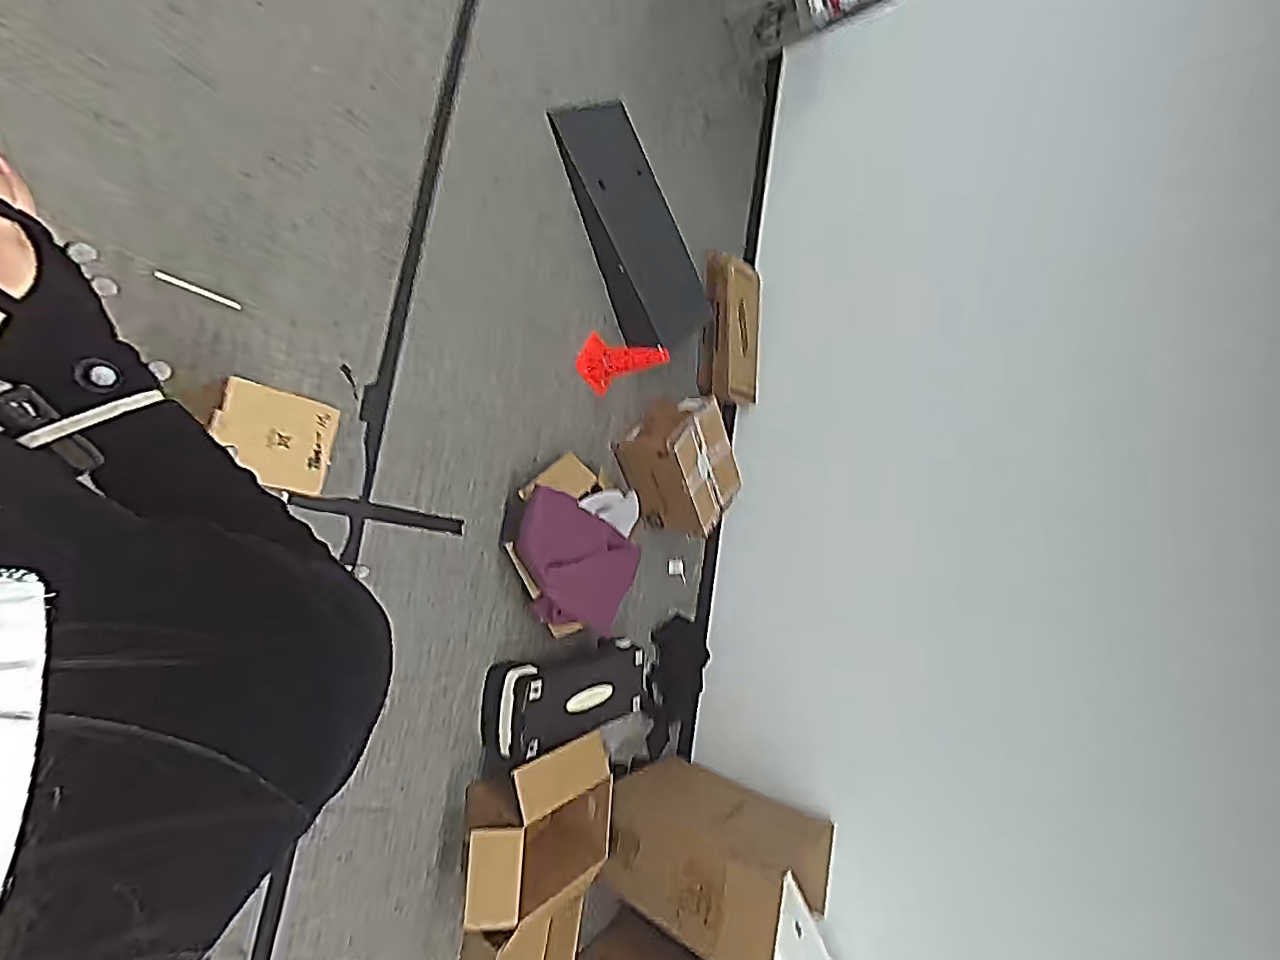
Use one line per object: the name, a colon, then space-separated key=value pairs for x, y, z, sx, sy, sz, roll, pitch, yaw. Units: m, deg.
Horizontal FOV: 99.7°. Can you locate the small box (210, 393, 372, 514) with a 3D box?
small box: x=-0.609 y=-0.039 z=0.942 sx=0.179 sy=0.176 sz=0.168 roll=21 pitch=75 yaw=-51

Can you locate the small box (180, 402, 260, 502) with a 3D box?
small box: x=-0.738 y=-0.044 z=1.043 sx=0.179 sy=0.176 sz=0.168 roll=20 pitch=75 yaw=-51
